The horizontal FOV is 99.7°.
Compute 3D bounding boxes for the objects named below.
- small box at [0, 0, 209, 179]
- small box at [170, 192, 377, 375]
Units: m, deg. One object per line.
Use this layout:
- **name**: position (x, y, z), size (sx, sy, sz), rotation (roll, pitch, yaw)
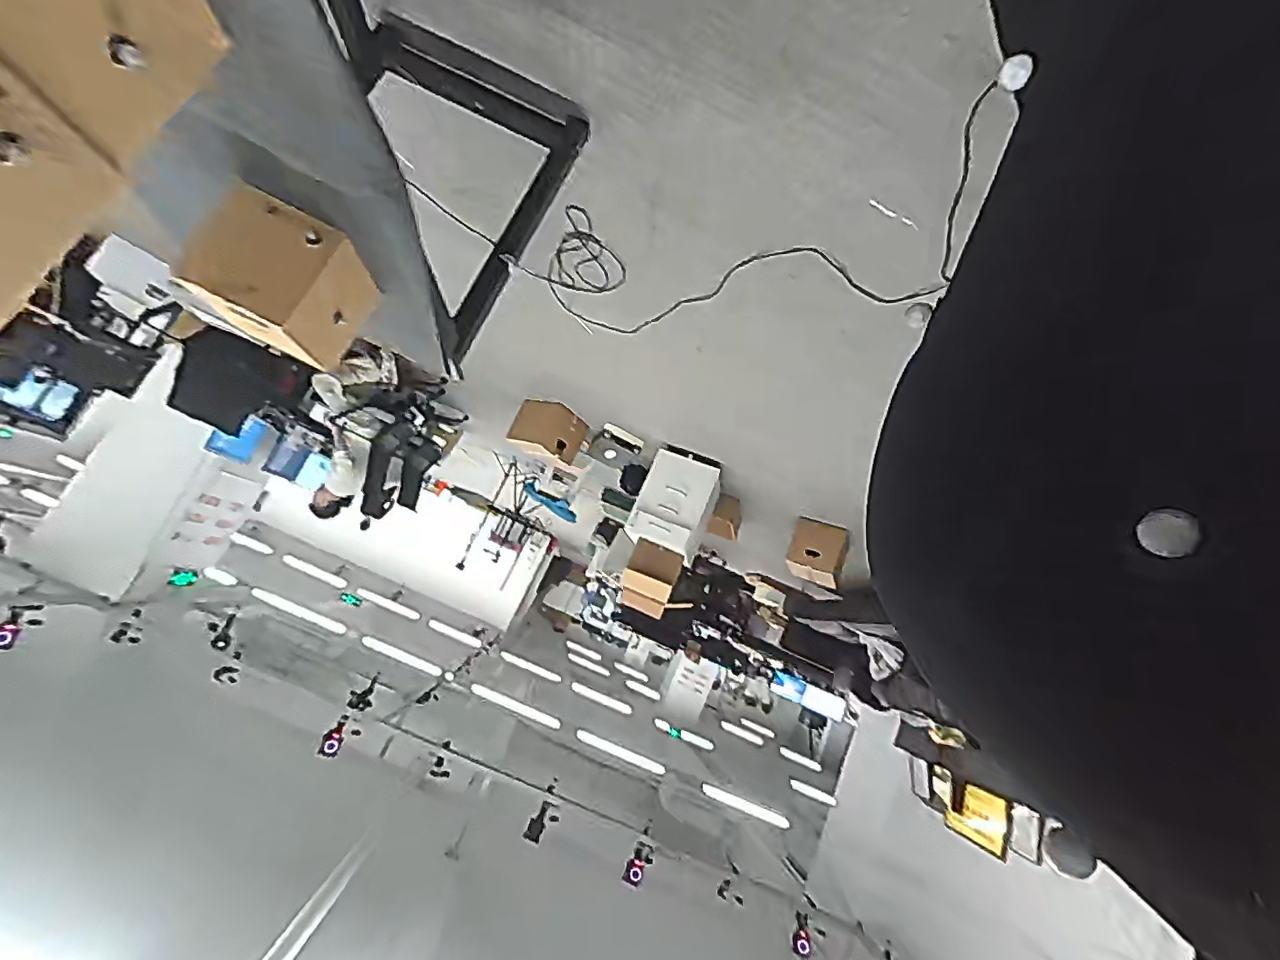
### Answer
- **small box**: position (-0.472, -0.378, 0.397), size (0.179, 0.176, 0.168), rotation (26, 167, -3)
- **small box**: position (-0.541, -0.295, 0.829), size (0.168, 0.176, 0.179), rotation (26, 167, -4)
